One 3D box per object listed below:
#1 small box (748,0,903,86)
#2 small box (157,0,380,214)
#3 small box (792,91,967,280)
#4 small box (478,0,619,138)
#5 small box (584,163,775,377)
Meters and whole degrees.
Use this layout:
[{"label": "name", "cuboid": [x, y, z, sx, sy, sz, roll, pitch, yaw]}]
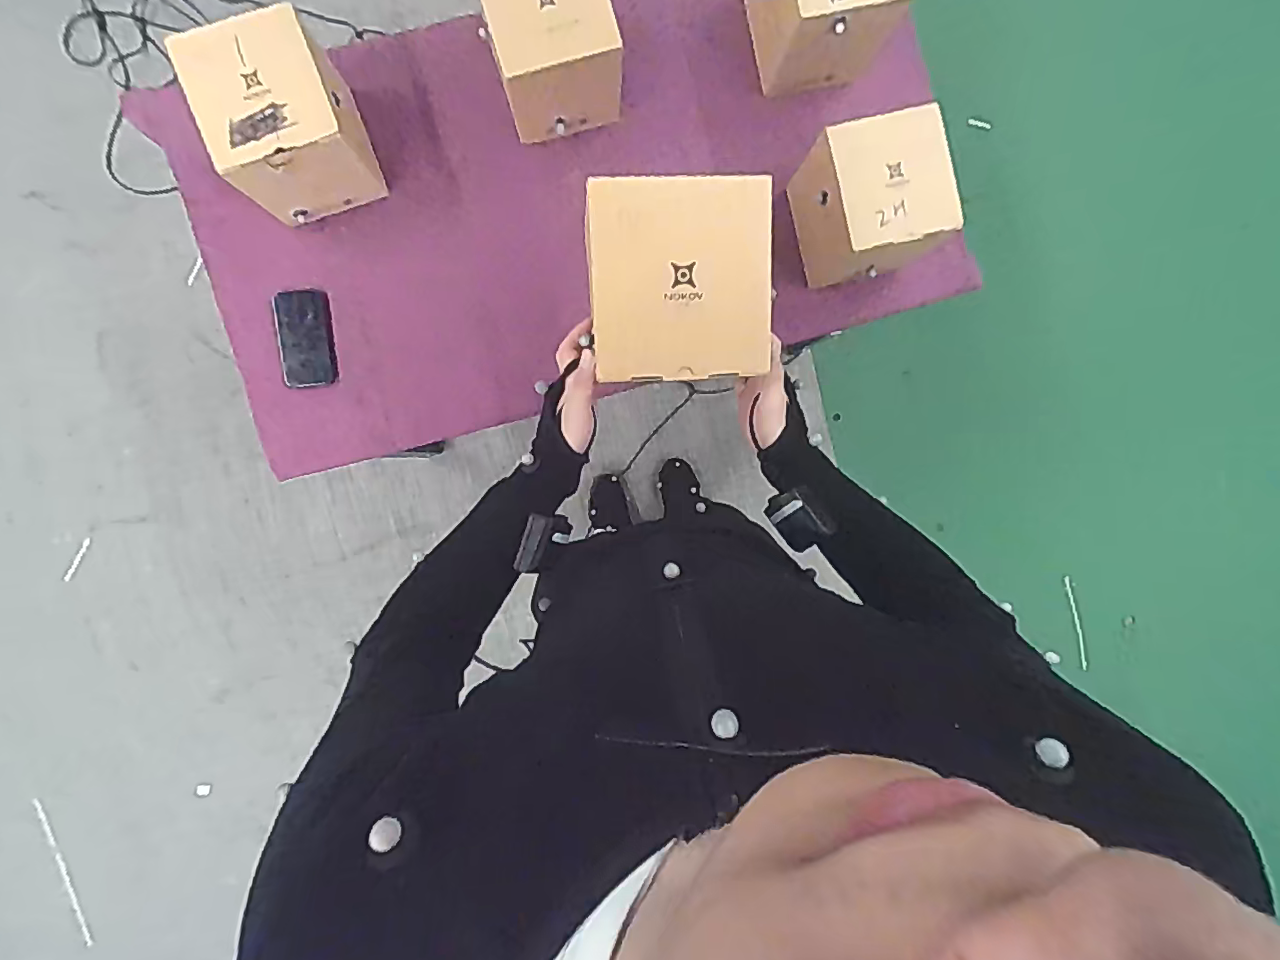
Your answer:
[{"label": "small box", "cuboid": [0.266, -0.734, 0.794, 0.168, 0.176, 0.179, -14, 93, -2]}, {"label": "small box", "cuboid": [-0.496, -0.500, 0.754, 0.168, 0.176, 0.179, -20, 93, -3]}, {"label": "small box", "cuboid": [0.344, -0.427, 0.809, 0.168, 0.176, 0.179, -14, 94, -2]}, {"label": "small box", "cuboid": [-0.133, -0.639, 0.774, 0.168, 0.176, 0.179, -17, 94, -2]}, {"label": "small box", "cuboid": [0.030, -0.197, 0.550, 0.168, 0.176, 0.179, -3, 102, -5]}]
